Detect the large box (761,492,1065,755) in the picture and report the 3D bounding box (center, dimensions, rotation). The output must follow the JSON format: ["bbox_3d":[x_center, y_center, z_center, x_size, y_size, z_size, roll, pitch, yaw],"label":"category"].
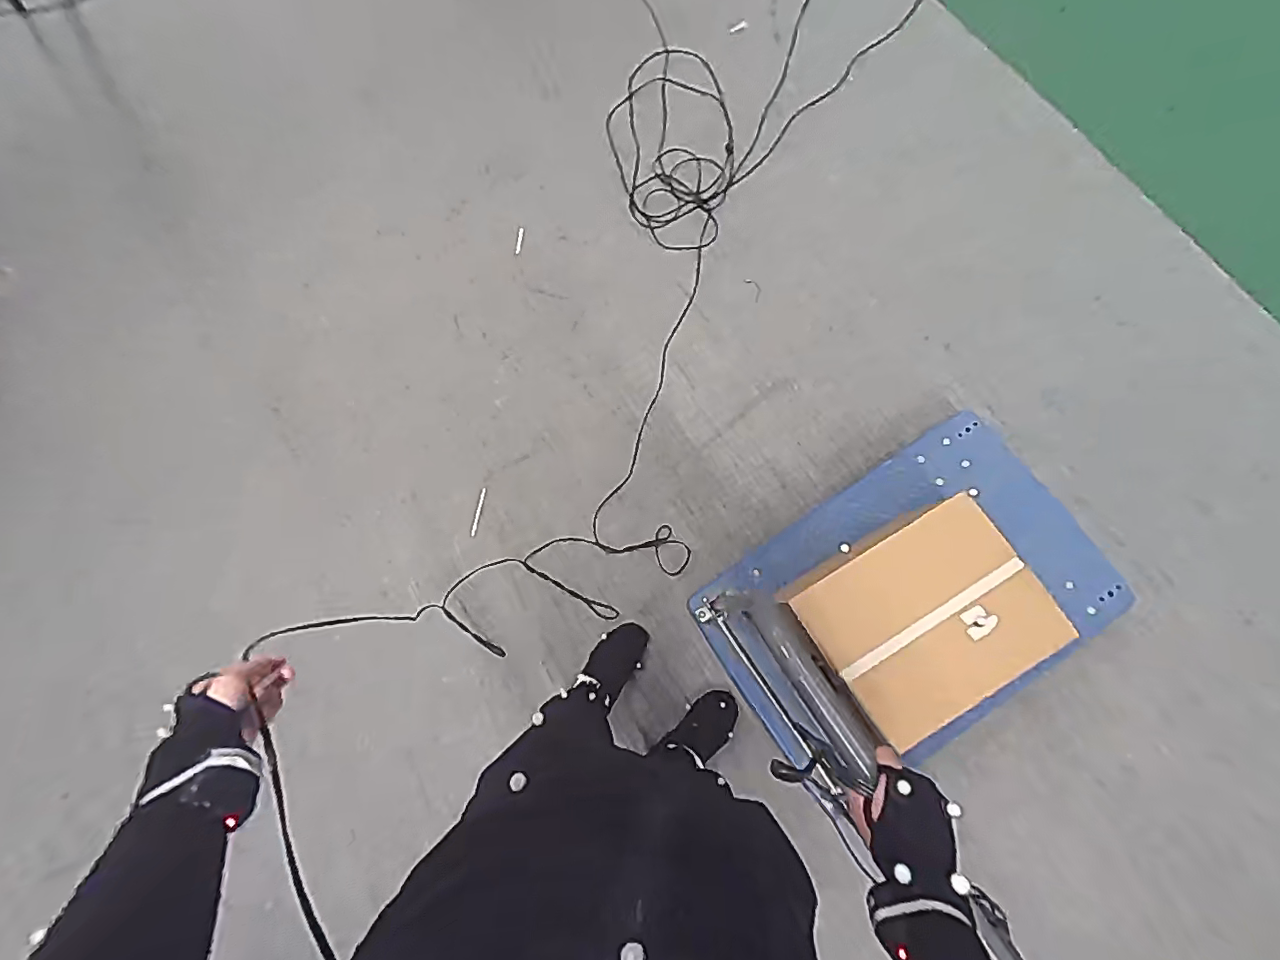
[{"bbox_3d":[0.519,0.284,1.121,0.408,0.320,0.320,-31,78,-4],"label":"large box"}]
